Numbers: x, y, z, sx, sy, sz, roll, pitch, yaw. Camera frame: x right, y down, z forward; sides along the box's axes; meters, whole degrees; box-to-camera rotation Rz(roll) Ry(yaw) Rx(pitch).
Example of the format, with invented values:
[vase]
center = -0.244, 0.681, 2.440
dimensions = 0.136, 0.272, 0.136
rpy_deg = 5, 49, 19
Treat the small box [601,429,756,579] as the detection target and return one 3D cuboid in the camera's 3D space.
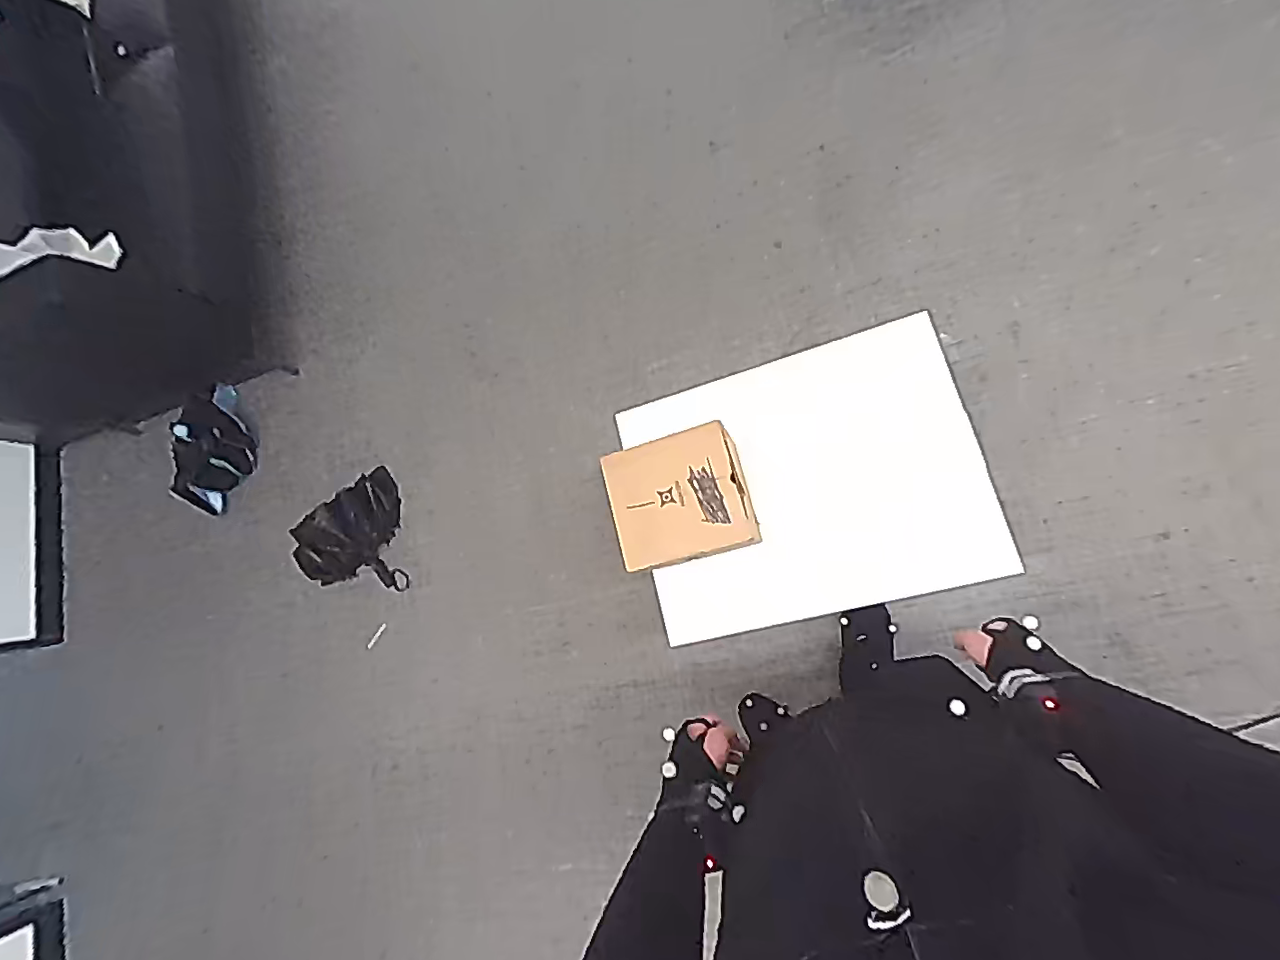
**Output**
[small box]
center = 0.066, 0.041, 0.790
dimensions = 0.179, 0.176, 0.168
rpy_deg = -17, 77, 14
